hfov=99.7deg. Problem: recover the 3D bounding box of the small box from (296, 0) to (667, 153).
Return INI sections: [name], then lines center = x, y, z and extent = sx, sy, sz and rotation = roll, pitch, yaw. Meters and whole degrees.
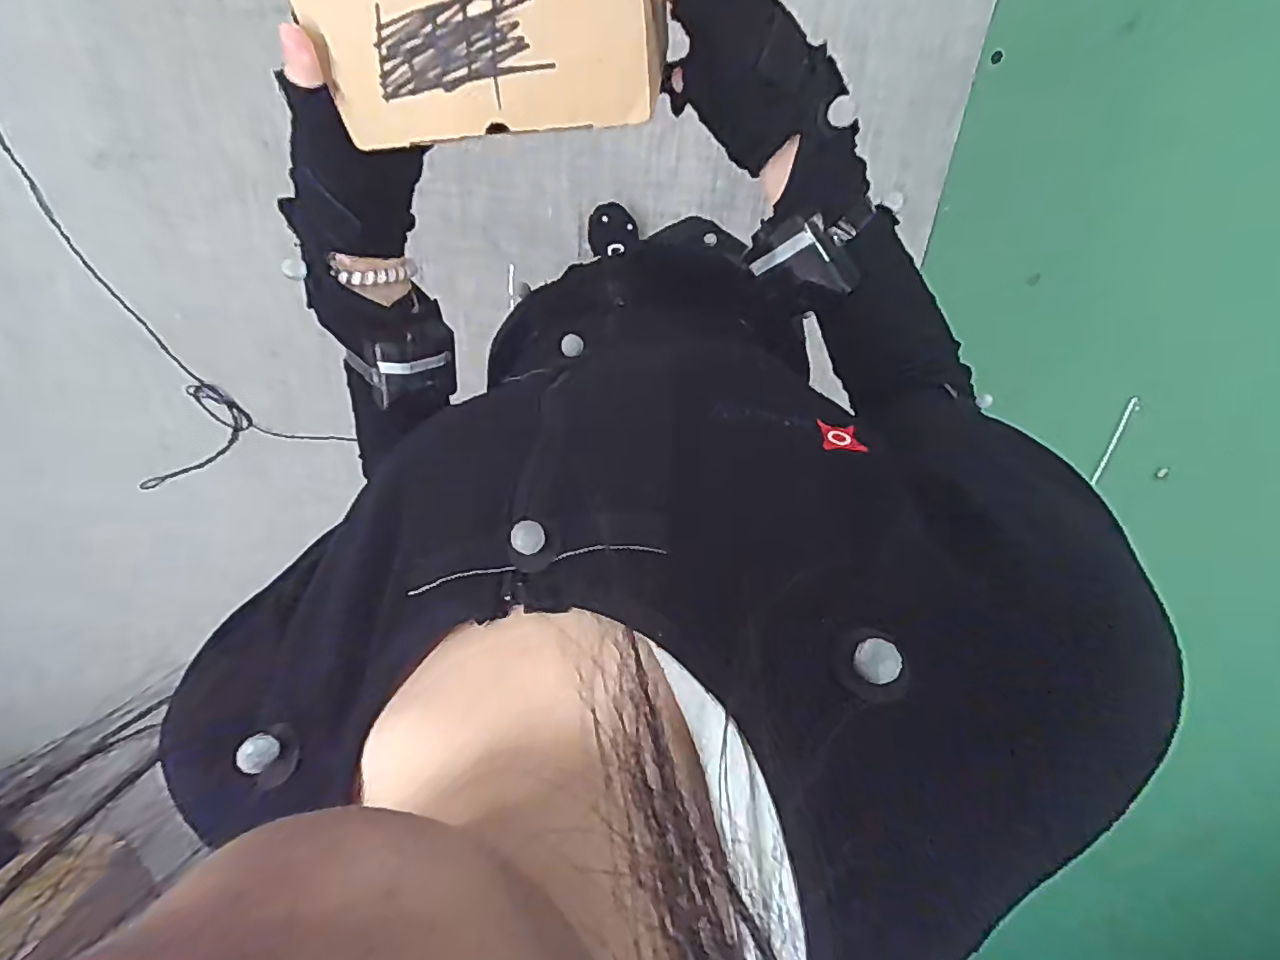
[small box]
center = -0.076, -0.299, 0.279
extent = 0.168, 0.176, 0.179
rotation = -1, 138, 8
